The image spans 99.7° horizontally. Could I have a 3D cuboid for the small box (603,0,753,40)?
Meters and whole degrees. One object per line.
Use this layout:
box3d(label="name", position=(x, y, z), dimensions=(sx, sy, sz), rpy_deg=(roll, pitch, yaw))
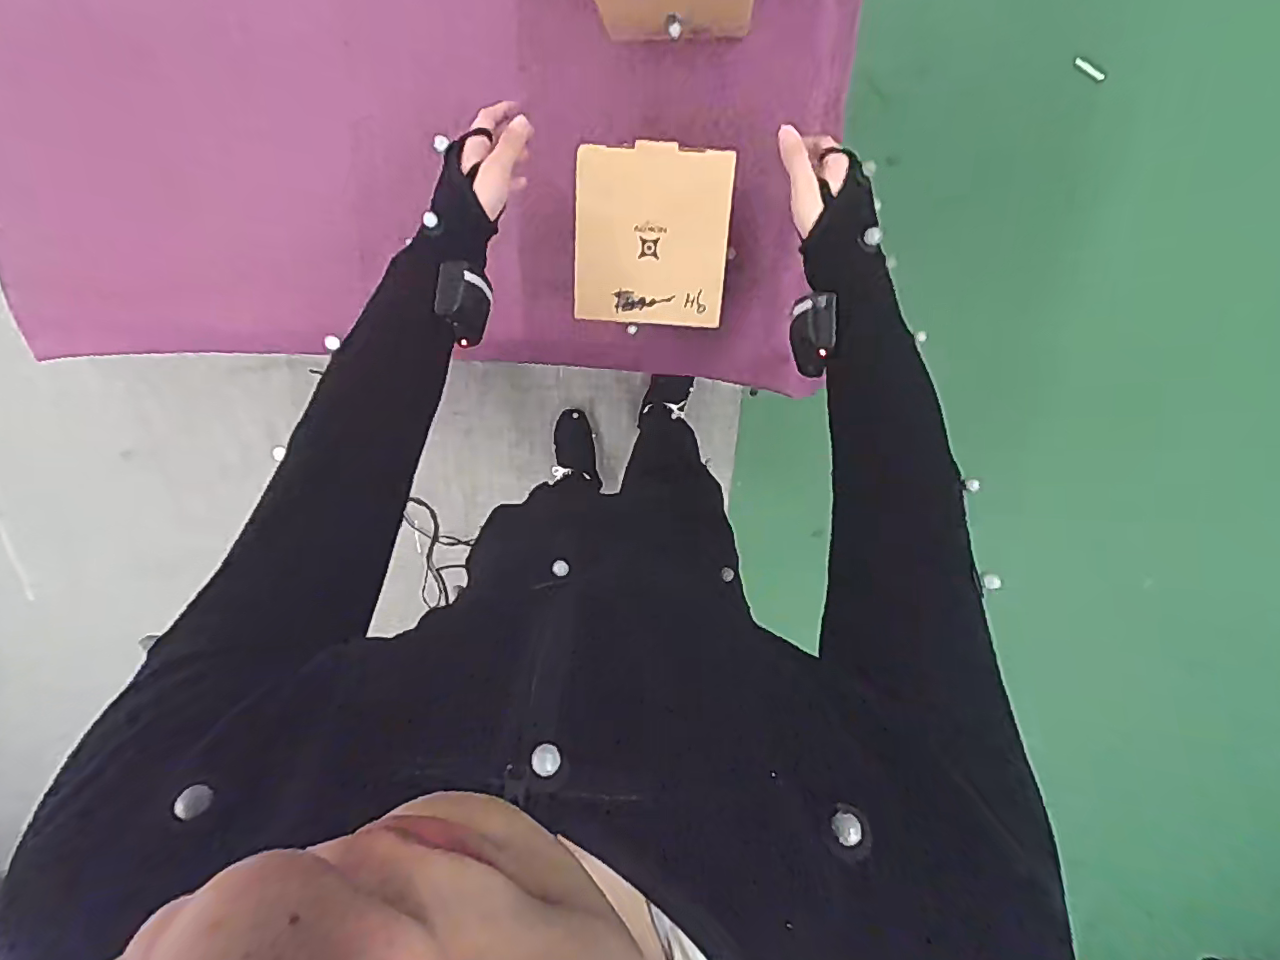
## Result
box3d(label="small box", position=(0.039, -0.580, 0.540), dimensions=(0.168, 0.176, 0.179), rpy_deg=(3, 111, 6))

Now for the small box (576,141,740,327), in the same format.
box3d(label="small box", position=(0.021, -0.282, 0.653), dimensions=(0.168, 0.176, 0.179), rpy_deg=(5, 108, 4))
